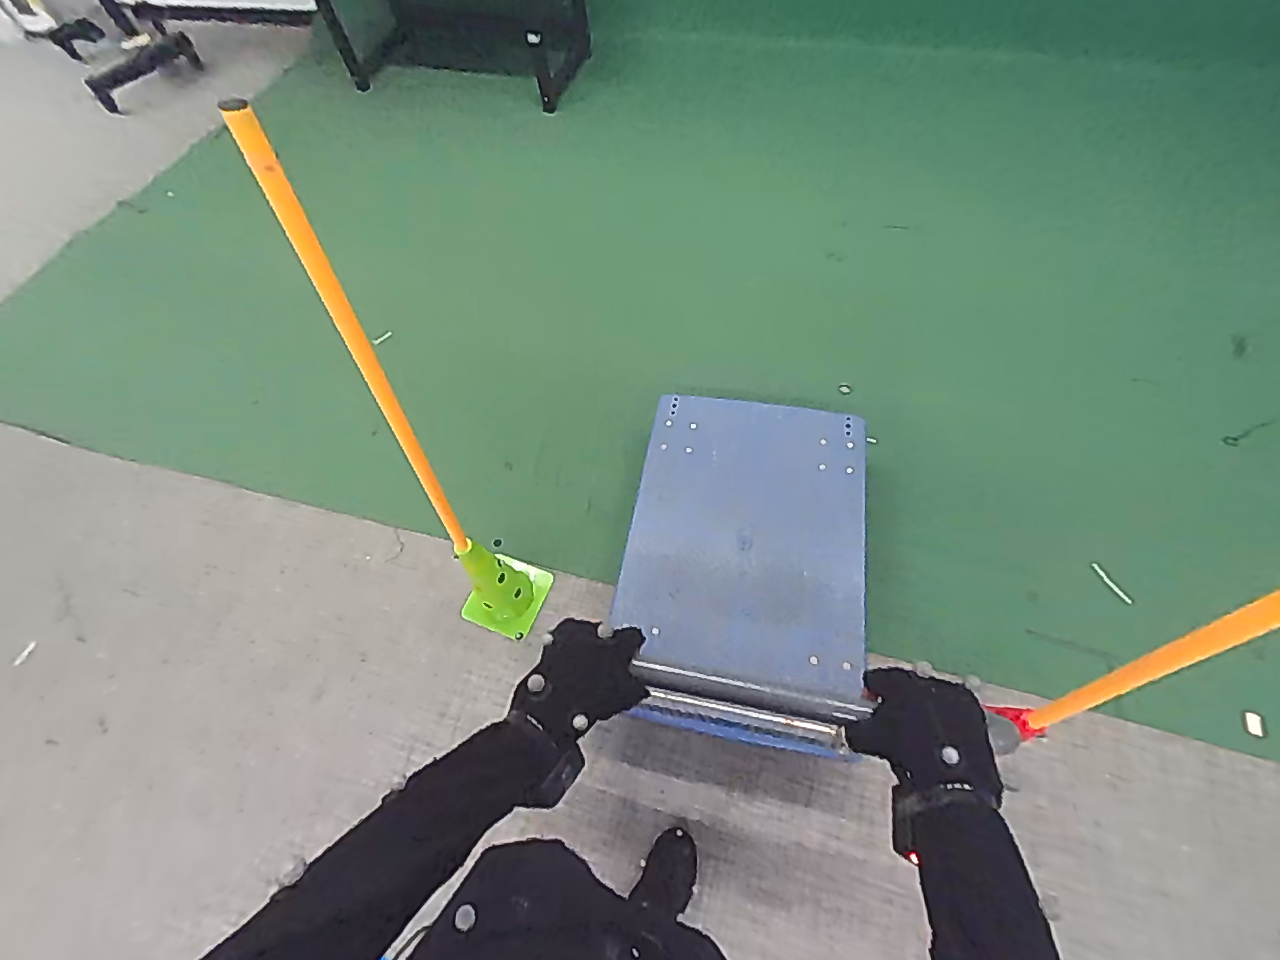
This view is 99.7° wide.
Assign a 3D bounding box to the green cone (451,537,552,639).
[{"bbox_3d":[-0.379,0.232,1.347,0.202,0.368,0.200,17,62,14],"label":"green cone"}]
